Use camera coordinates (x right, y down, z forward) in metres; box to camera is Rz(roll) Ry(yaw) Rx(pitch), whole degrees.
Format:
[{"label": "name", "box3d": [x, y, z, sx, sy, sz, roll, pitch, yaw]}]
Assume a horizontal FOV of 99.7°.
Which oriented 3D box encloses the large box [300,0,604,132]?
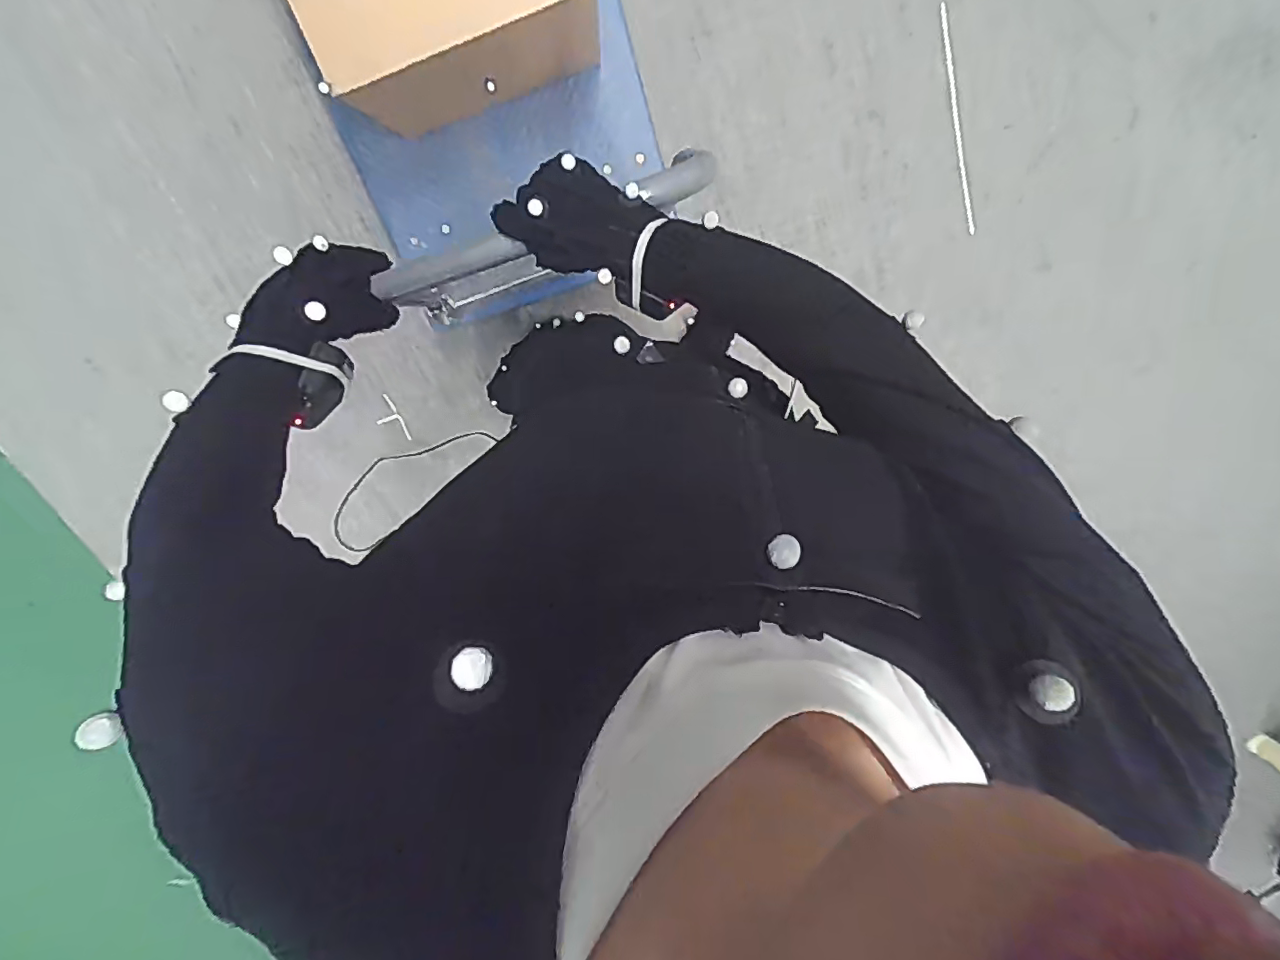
[{"label": "large box", "box3d": [-0.296, -0.809, 0.841, 0.408, 0.320, 0.320, -19, 112, 5]}]
